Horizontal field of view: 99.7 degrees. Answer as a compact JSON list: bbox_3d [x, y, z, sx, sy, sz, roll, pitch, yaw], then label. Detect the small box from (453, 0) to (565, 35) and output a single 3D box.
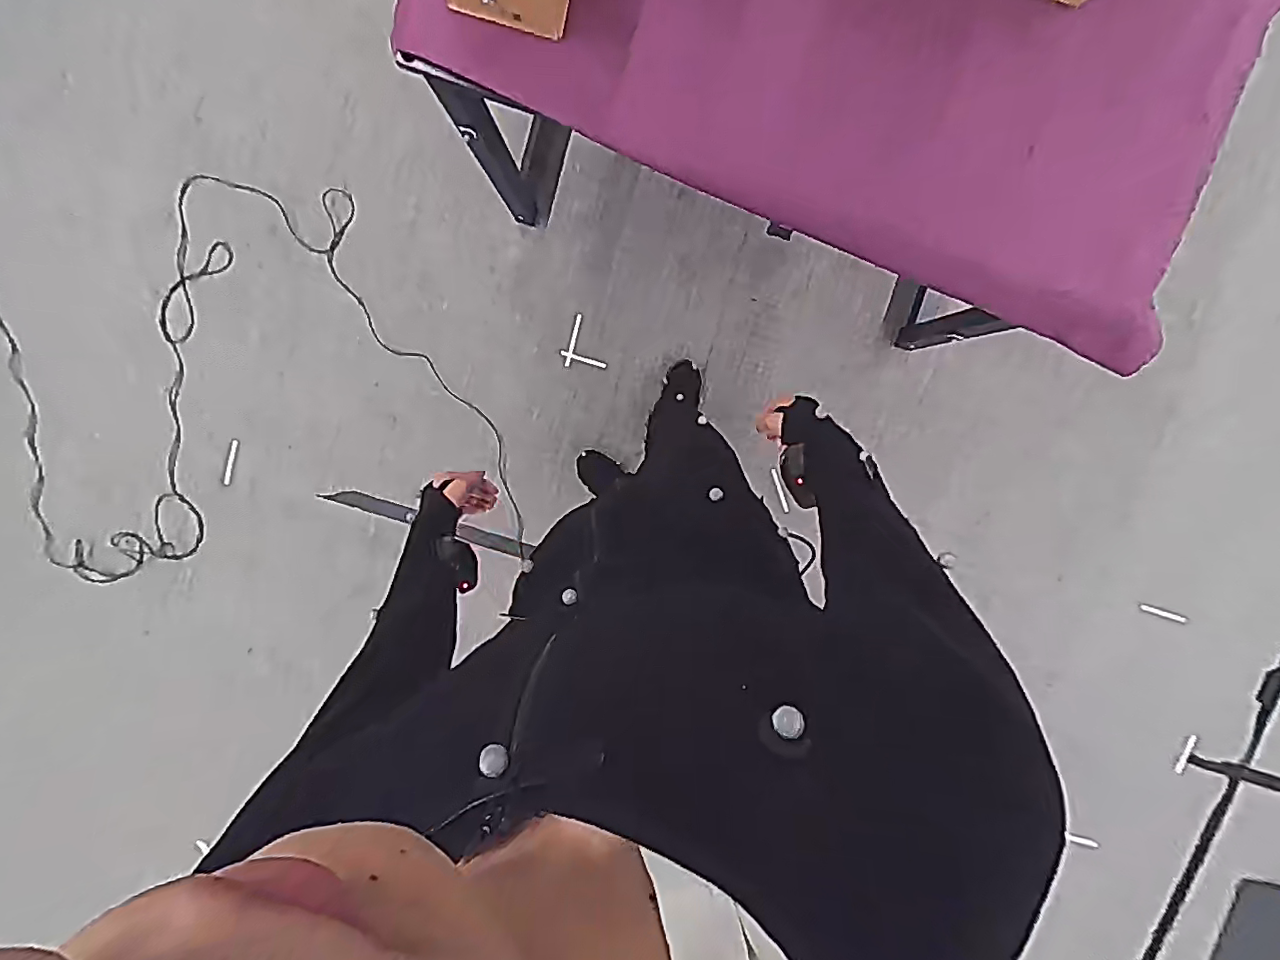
[{"bbox_3d":[-0.172,-0.729,0.684,0.168,0.176,0.179,13,98,-4],"label":"small box"}]
